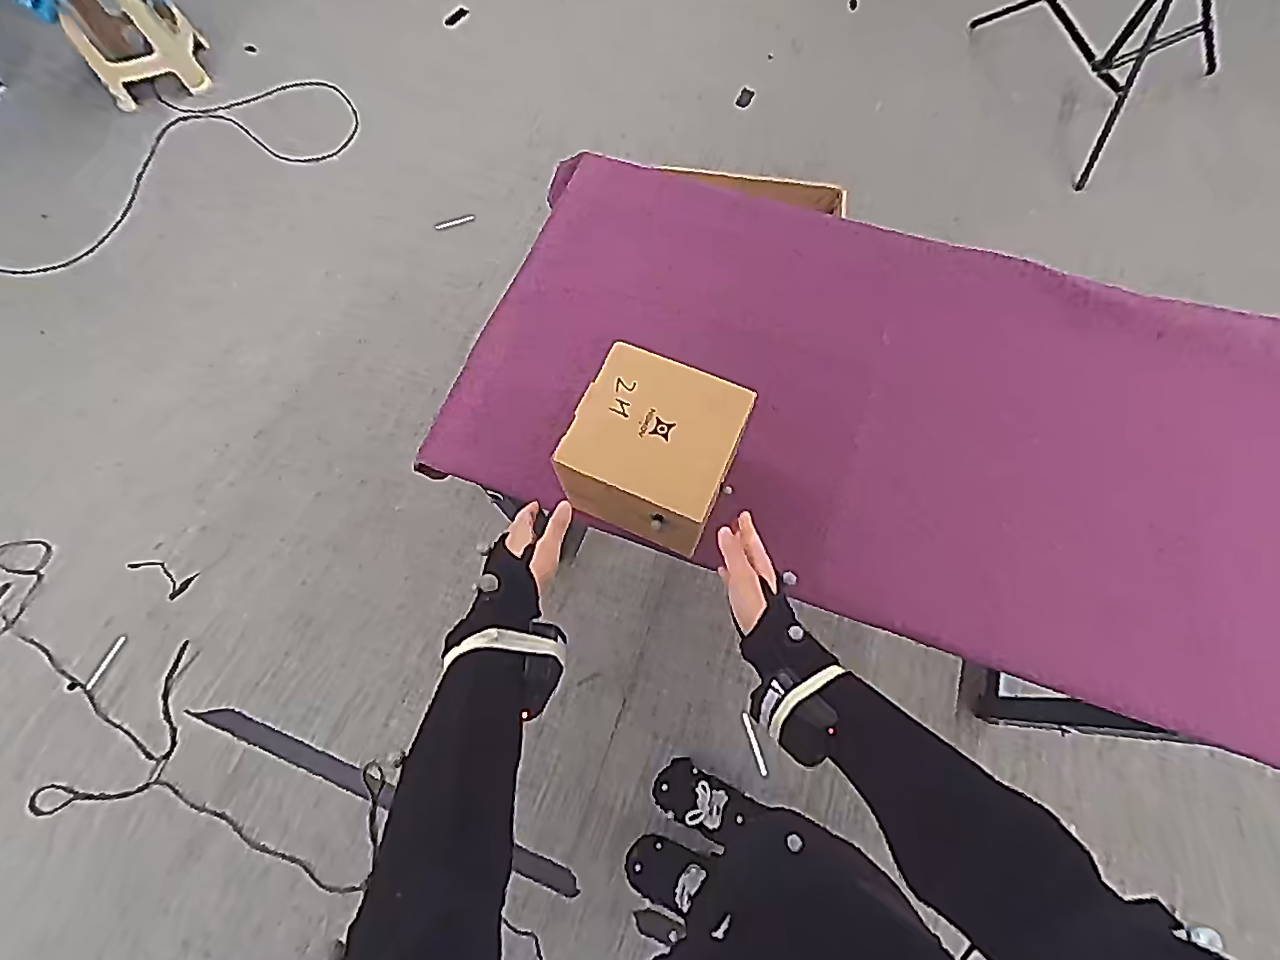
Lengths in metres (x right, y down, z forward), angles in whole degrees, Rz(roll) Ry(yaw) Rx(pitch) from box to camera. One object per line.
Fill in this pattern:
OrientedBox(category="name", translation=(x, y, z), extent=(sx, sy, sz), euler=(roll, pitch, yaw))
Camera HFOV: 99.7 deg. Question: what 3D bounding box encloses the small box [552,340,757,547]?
OrientedBox(category="small box", translation=(0.019, -0.032, 0.655), extent=(0.179, 0.176, 0.168), euler=(23, 72, 10))
